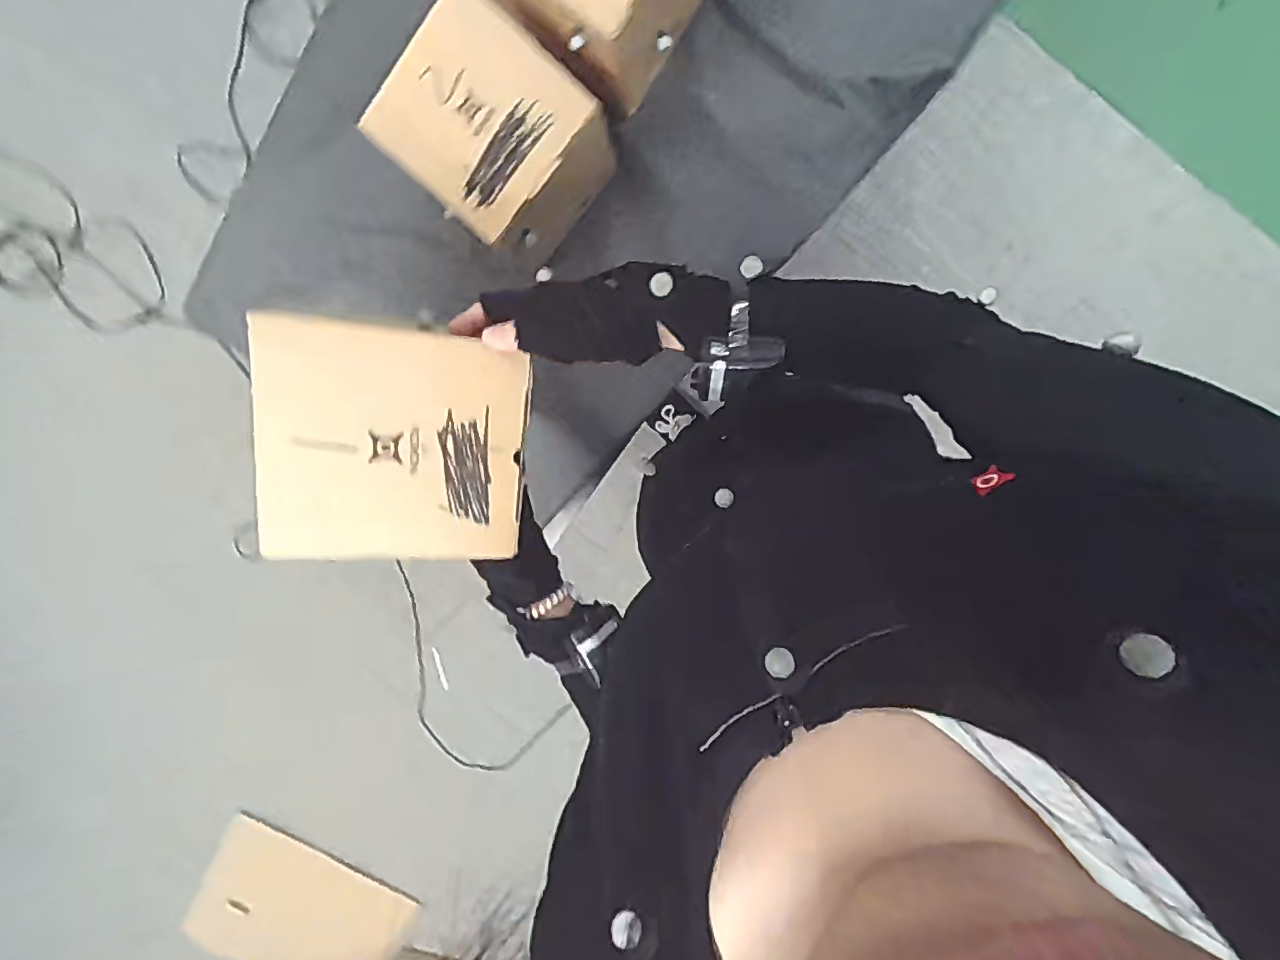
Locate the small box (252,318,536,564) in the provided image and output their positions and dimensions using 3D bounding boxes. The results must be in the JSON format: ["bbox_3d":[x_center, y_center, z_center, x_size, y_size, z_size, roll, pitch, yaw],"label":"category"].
[{"bbox_3d":[-0.192,-0.040,0.451,0.179,0.176,0.168,3,105,-19],"label":"small box"}]
